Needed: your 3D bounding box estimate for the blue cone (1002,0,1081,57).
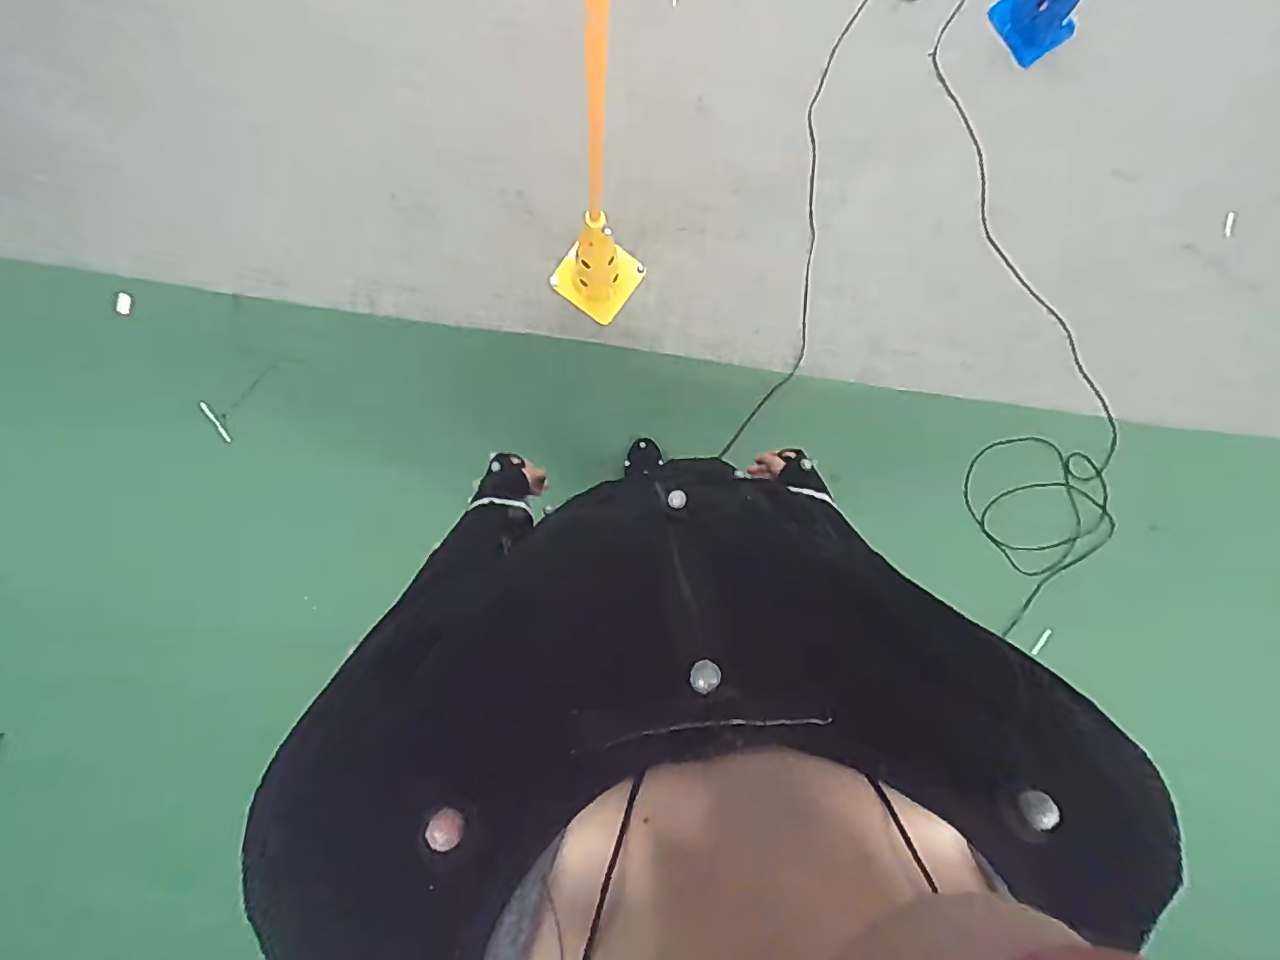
[{"bbox_3d":[1.131,-1.303,1.344,0.193,0.380,0.192,-38,93,-4],"label":"blue cone"}]
